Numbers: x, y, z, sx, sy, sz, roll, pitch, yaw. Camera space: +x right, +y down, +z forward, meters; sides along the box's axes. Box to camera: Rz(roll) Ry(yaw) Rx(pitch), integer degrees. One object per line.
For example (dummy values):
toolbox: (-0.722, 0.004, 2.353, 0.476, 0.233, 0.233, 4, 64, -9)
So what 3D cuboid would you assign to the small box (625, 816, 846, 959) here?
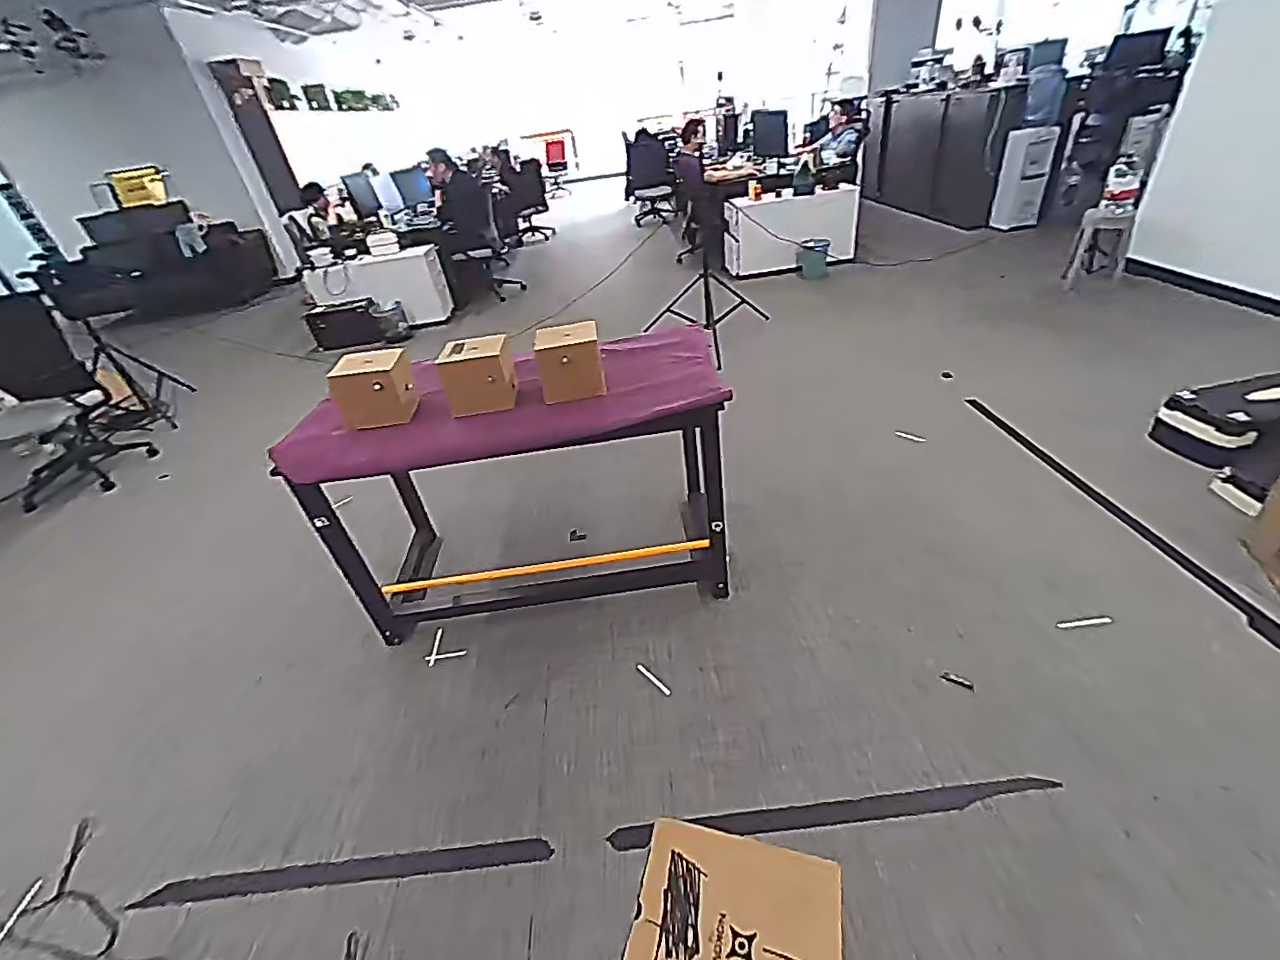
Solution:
small box: (0.089, 0.452, 0.493, 0.179, 0.176, 0.168, 4, 32, 17)

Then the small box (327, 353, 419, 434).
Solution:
small box: (-0.765, -0.252, 1.574, 0.179, 0.176, 0.168, -8, 34, -3)

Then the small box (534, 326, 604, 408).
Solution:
small box: (-0.200, -0.328, 1.569, 0.179, 0.176, 0.168, -10, 34, -1)
